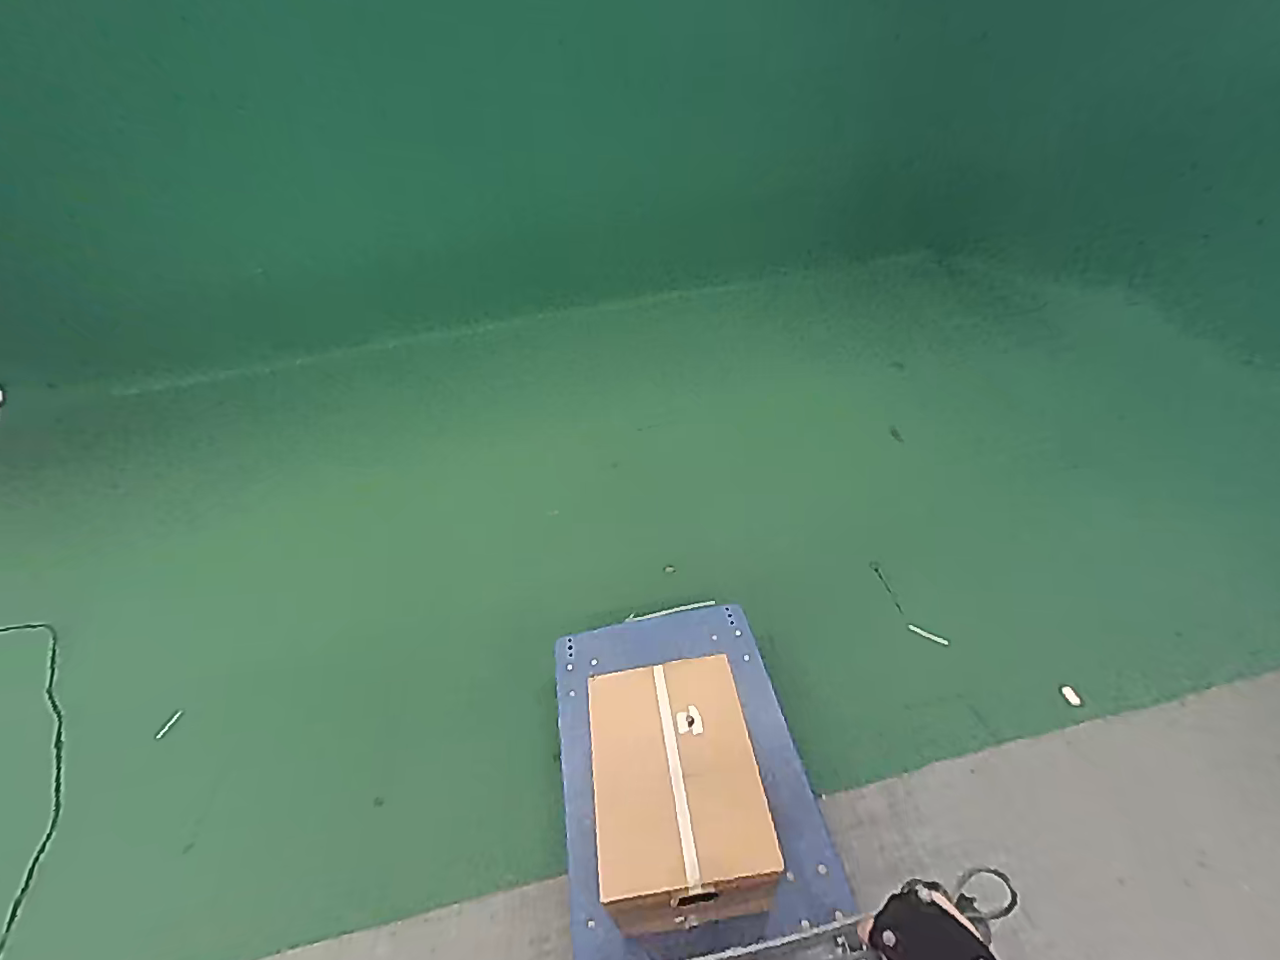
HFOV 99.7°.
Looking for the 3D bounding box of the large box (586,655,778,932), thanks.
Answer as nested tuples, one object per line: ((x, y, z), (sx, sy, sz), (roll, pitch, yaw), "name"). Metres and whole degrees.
((0.073, 0.651, 1.145), (0.320, 0.320, 0.408), (-8, 41, -2), "large box")
